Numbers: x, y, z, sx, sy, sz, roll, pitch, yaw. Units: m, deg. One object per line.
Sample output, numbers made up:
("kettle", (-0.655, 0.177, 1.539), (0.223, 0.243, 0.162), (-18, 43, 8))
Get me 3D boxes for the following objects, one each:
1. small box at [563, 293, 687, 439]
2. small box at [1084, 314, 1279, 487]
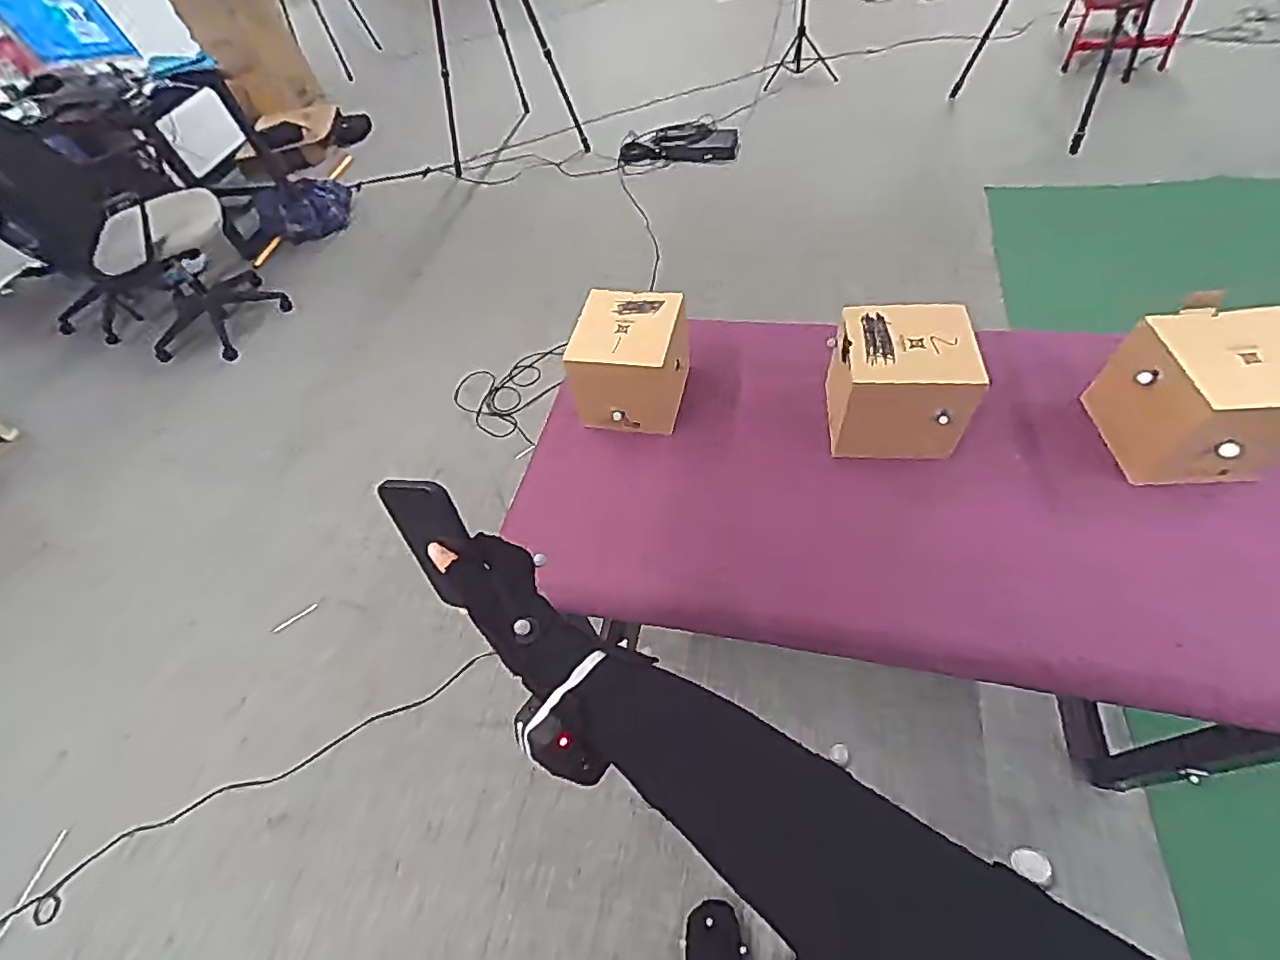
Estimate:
("small box", (-0.014, -0.196, 0.936), (0.168, 0.176, 0.179), (7, 58, 14))
("small box", (0.771, -0.100, 0.744), (0.168, 0.176, 0.179), (-3, 54, 8))
